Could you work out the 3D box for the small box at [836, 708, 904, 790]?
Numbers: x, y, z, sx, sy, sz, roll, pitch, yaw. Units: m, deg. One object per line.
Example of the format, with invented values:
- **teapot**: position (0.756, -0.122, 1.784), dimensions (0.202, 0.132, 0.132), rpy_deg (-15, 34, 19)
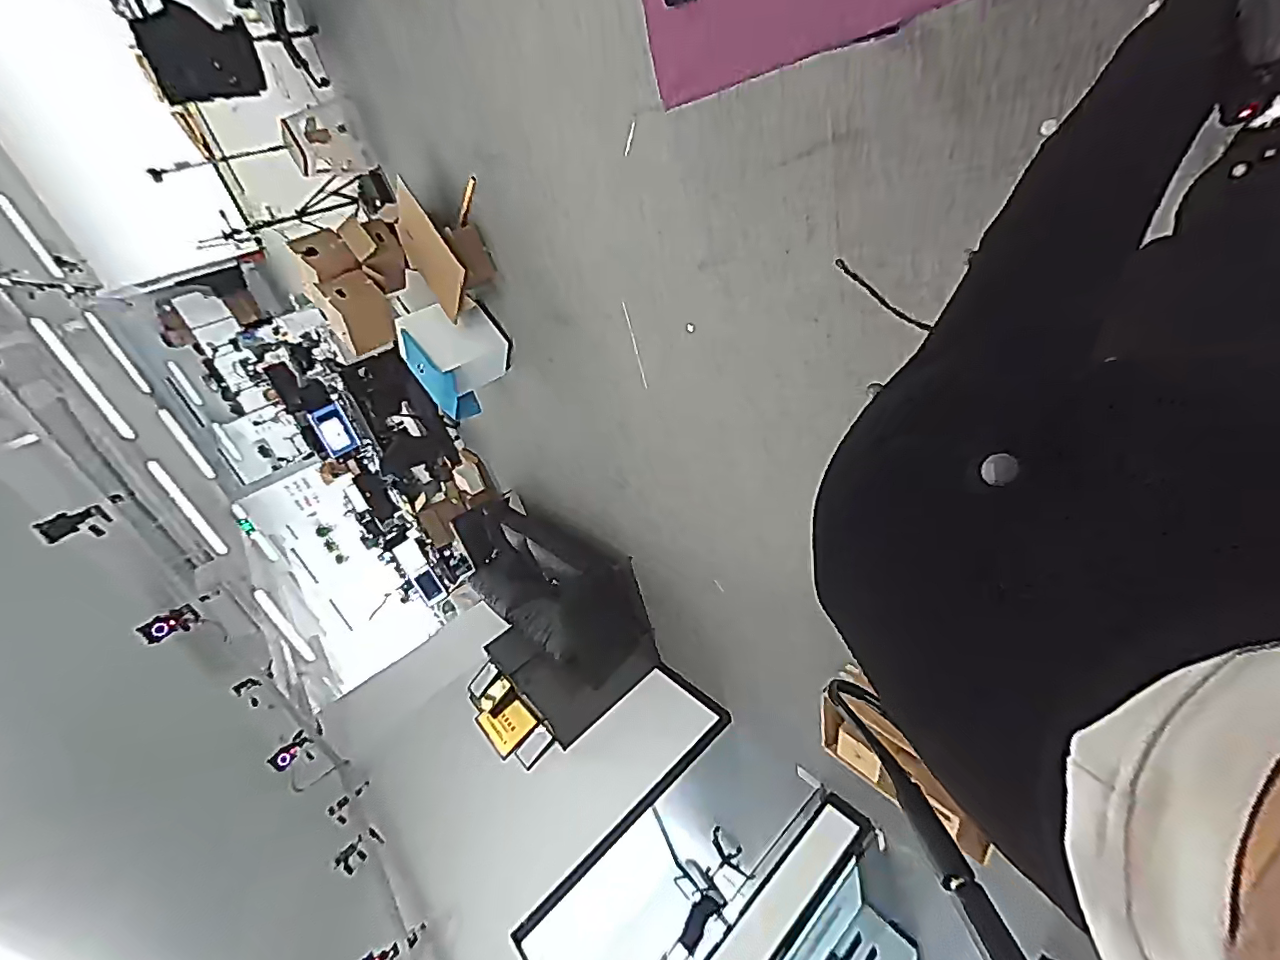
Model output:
- **small box**: position (0.848, 0.987, 1.994), dimensions (0.168, 0.176, 0.179), rpy_deg (28, 139, 43)
